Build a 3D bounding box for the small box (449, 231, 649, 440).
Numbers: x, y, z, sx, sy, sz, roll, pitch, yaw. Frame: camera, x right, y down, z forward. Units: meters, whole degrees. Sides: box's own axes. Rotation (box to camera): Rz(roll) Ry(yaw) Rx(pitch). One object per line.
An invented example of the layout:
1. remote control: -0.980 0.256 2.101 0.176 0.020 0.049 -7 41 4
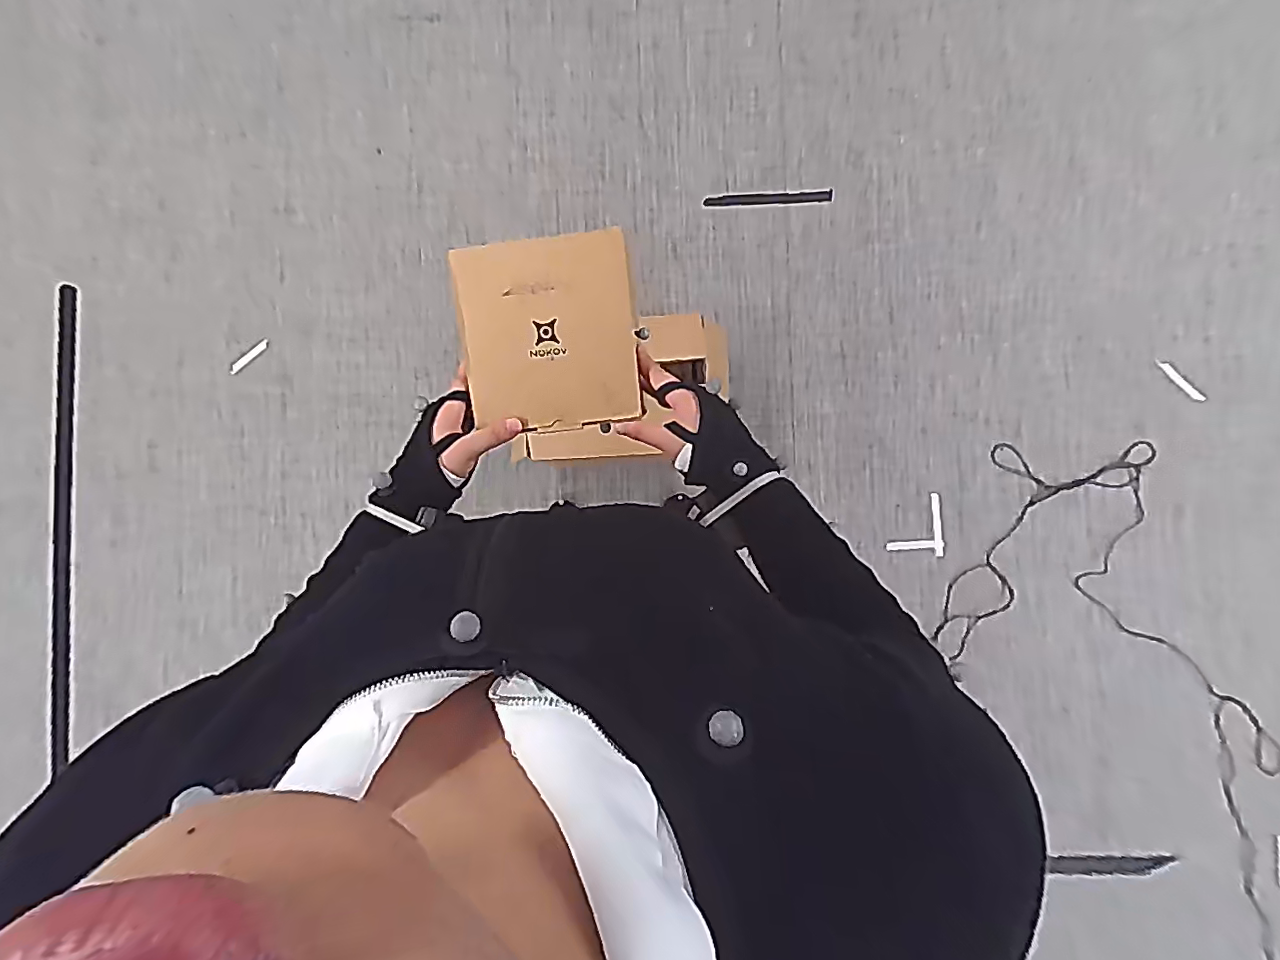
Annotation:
1. small box: -0.081 -0.146 0.580 0.168 0.176 0.179 -6 100 3
